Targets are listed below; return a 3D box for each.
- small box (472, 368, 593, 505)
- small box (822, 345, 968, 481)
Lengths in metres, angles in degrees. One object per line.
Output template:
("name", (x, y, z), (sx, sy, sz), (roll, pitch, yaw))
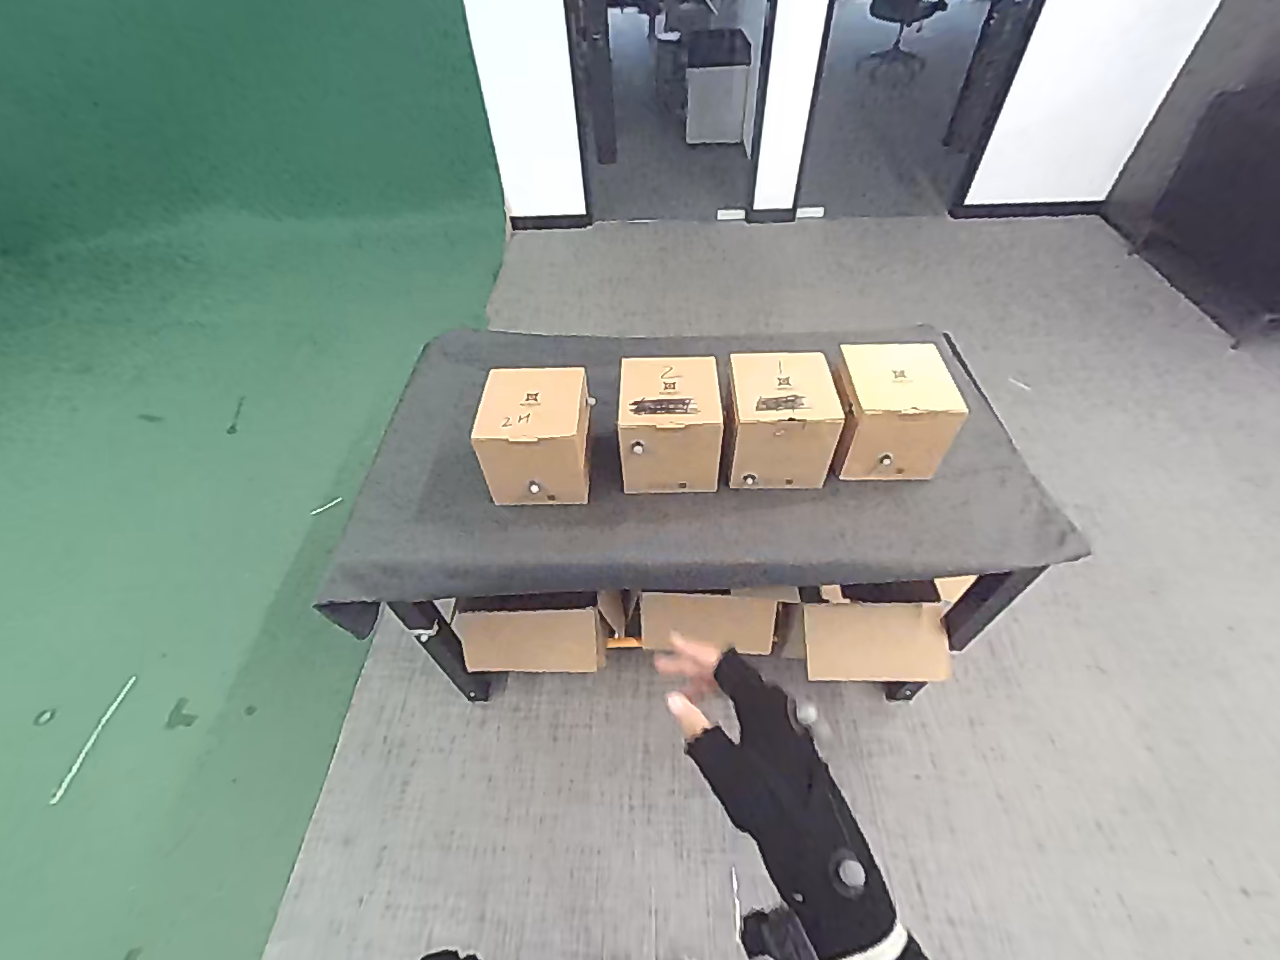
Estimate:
("small box", (-0.175, -0.076, 0.942), (0.168, 0.176, 0.179), (-1, 49, 2))
("small box", (0.434, -0.119, 0.959), (0.168, 0.176, 0.179), (0, 50, 2))
